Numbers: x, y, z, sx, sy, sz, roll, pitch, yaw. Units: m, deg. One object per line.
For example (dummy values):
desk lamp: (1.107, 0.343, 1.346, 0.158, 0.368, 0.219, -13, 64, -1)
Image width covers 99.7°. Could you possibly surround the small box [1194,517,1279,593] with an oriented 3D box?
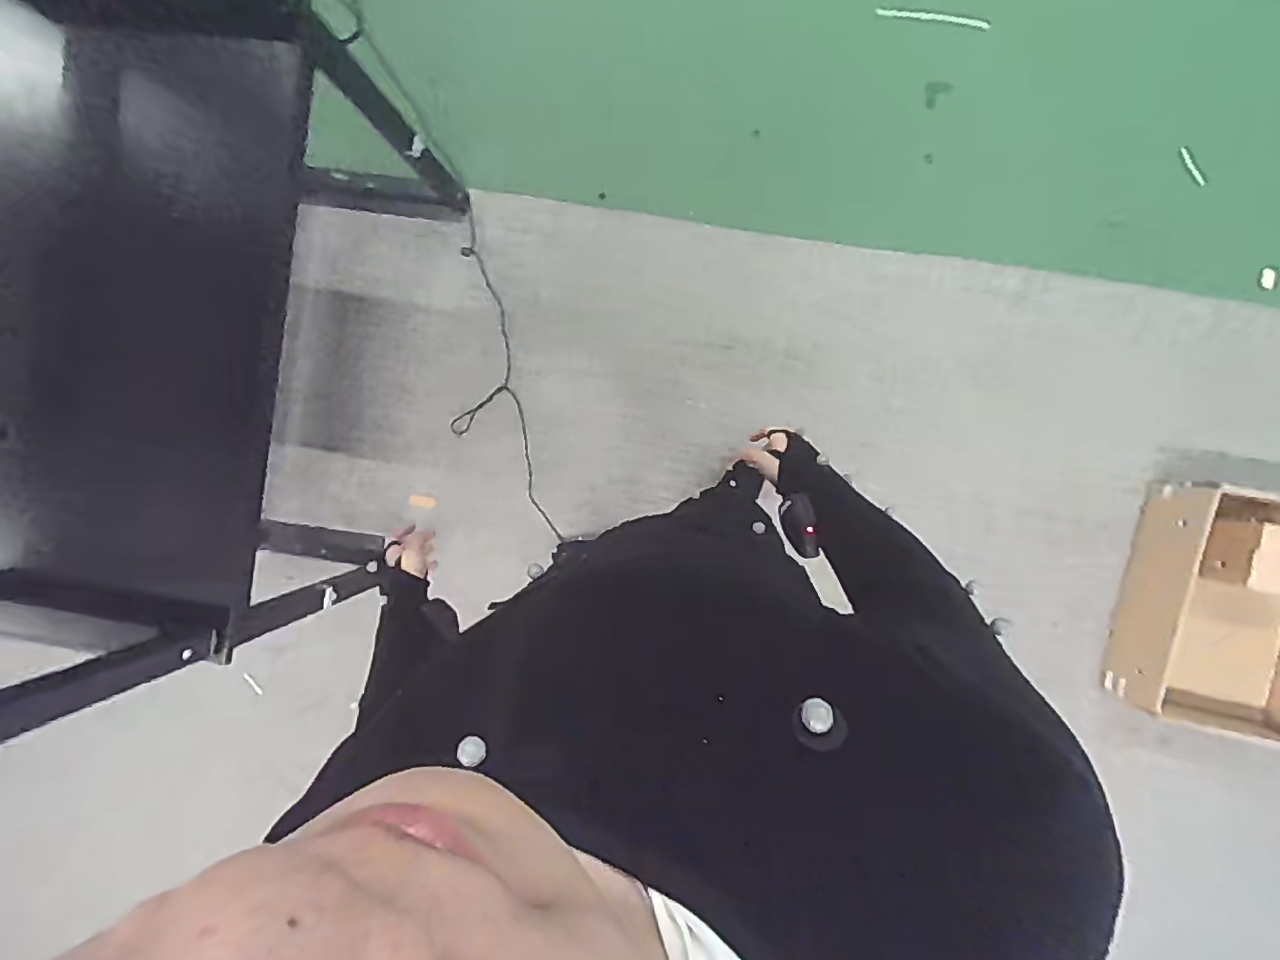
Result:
small box: (1.584, 0.193, 1.373, 0.179, 0.176, 0.168, 11, 95, 4)
